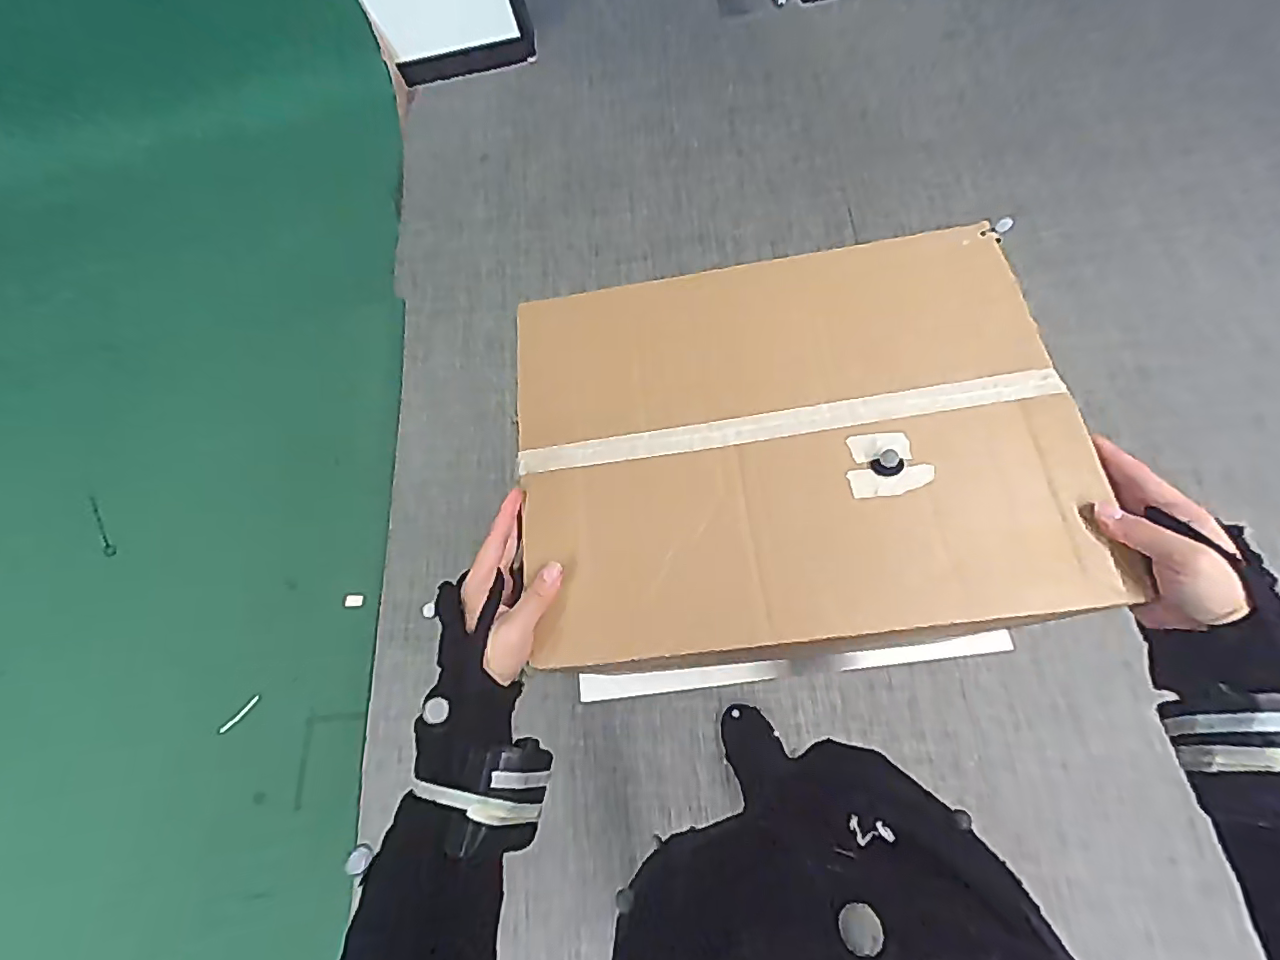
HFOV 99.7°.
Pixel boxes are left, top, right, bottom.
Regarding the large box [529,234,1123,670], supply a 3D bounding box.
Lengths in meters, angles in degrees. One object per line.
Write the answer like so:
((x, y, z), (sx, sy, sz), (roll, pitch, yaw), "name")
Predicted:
((0.126, 0.009, 0.562), (0.408, 0.320, 0.320), (-8, 69, 4), "large box")
